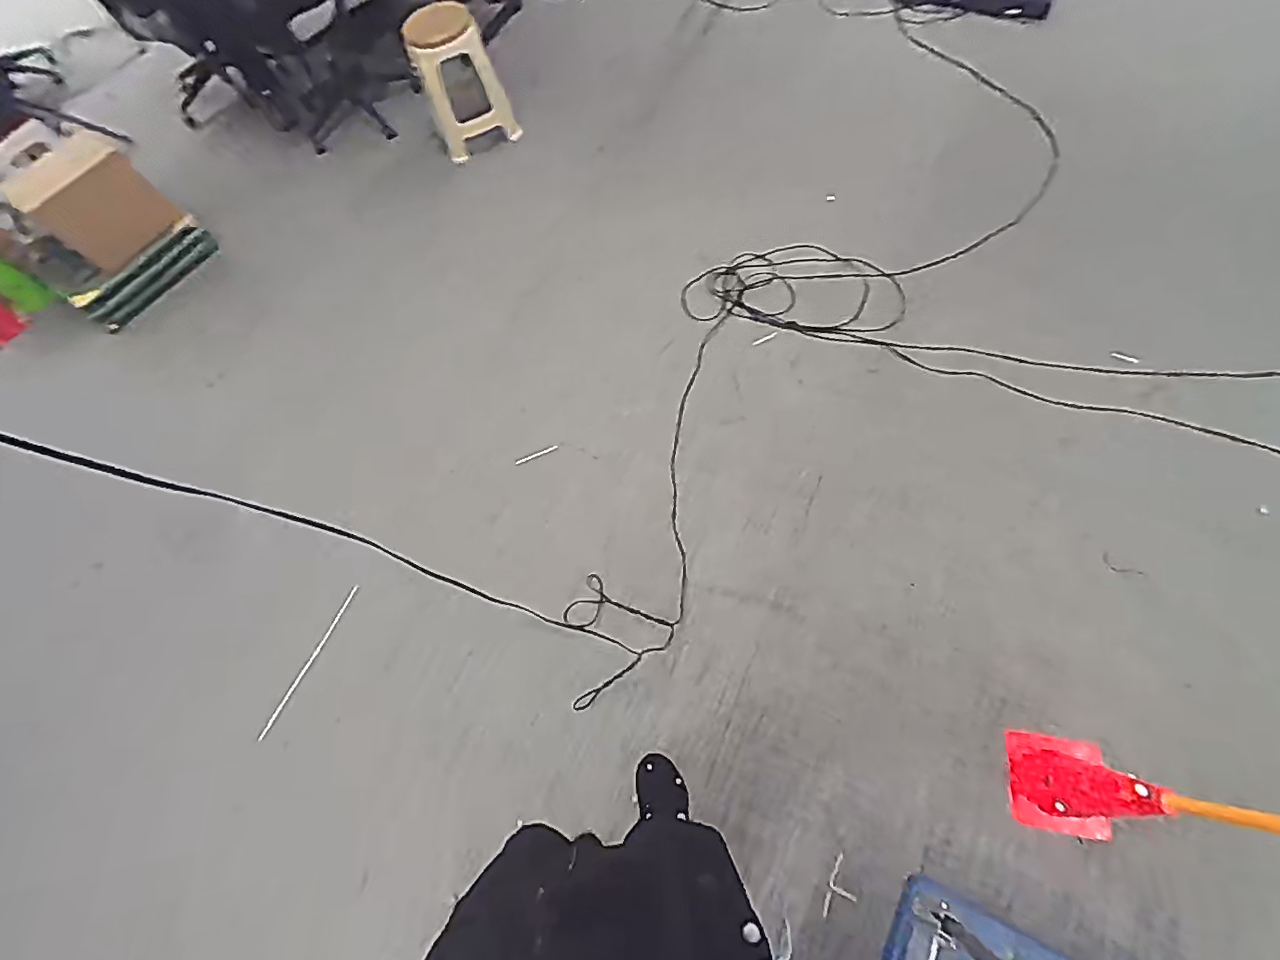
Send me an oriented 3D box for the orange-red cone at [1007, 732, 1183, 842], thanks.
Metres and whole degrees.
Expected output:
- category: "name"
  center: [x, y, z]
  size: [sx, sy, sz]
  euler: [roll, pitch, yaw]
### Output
- category: "orange-red cone"
  center: [0.938, 0.628, 1.091]
  size: [0.198, 0.360, 0.199]
  euler: [7, 65, 11]
